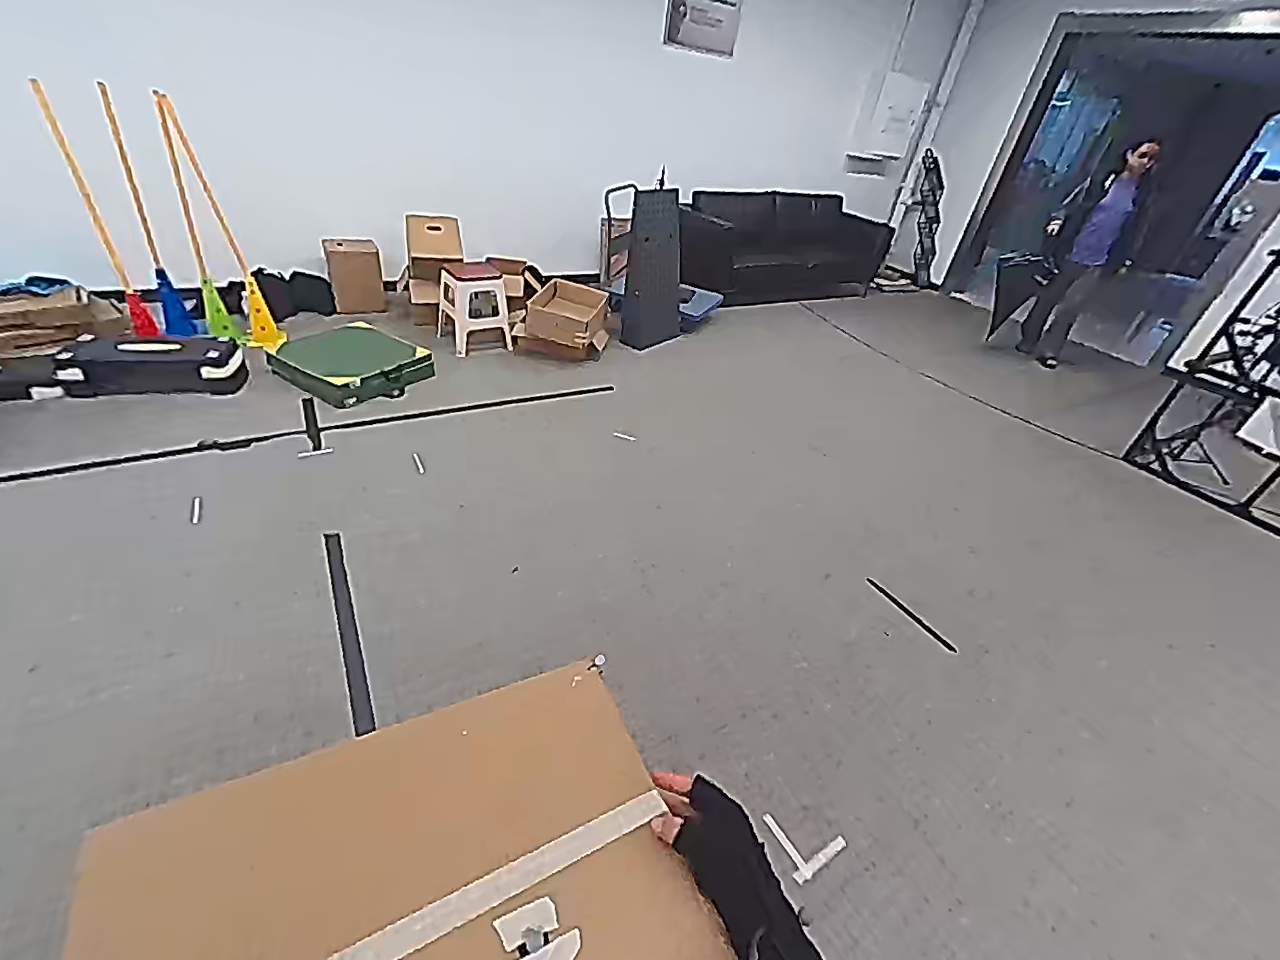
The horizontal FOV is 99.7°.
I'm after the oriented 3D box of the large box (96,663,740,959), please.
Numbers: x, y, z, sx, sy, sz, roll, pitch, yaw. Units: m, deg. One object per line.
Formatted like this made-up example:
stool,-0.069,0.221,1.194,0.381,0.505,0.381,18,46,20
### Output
large box,-0.184,0.443,0.496,0.408,0.320,0.320,-11,45,-29
